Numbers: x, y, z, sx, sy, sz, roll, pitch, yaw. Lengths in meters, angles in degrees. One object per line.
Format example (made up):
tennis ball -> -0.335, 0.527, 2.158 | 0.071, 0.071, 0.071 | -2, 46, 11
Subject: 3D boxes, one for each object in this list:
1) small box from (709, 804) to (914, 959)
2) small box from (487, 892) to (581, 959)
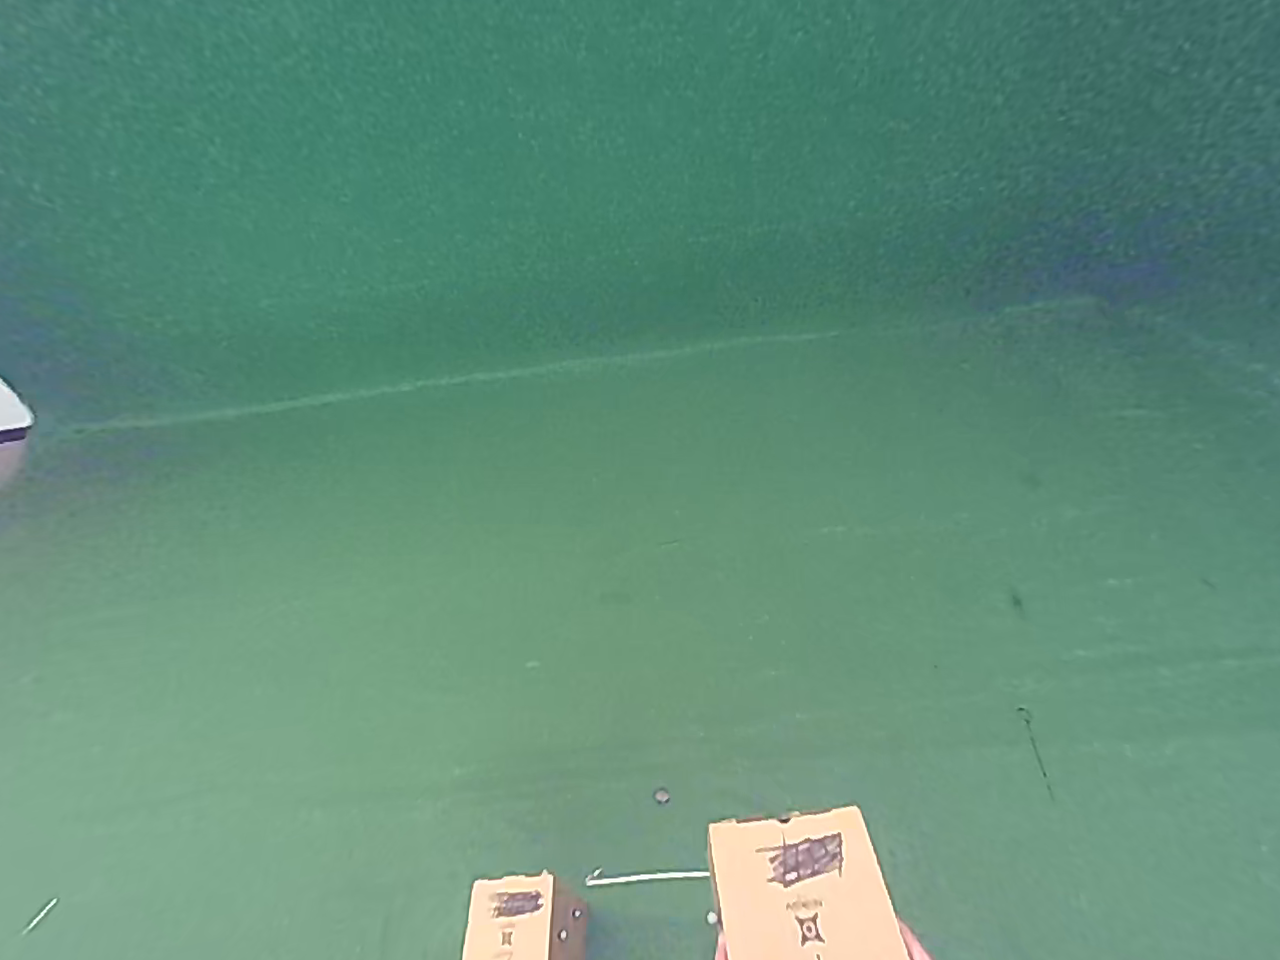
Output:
small box -> 0.166, 0.466, 0.564 | 0.168, 0.176, 0.179 | -6, 45, 0
small box -> -0.227, 1.027, 1.179 | 0.168, 0.176, 0.179 | -7, 43, 3
